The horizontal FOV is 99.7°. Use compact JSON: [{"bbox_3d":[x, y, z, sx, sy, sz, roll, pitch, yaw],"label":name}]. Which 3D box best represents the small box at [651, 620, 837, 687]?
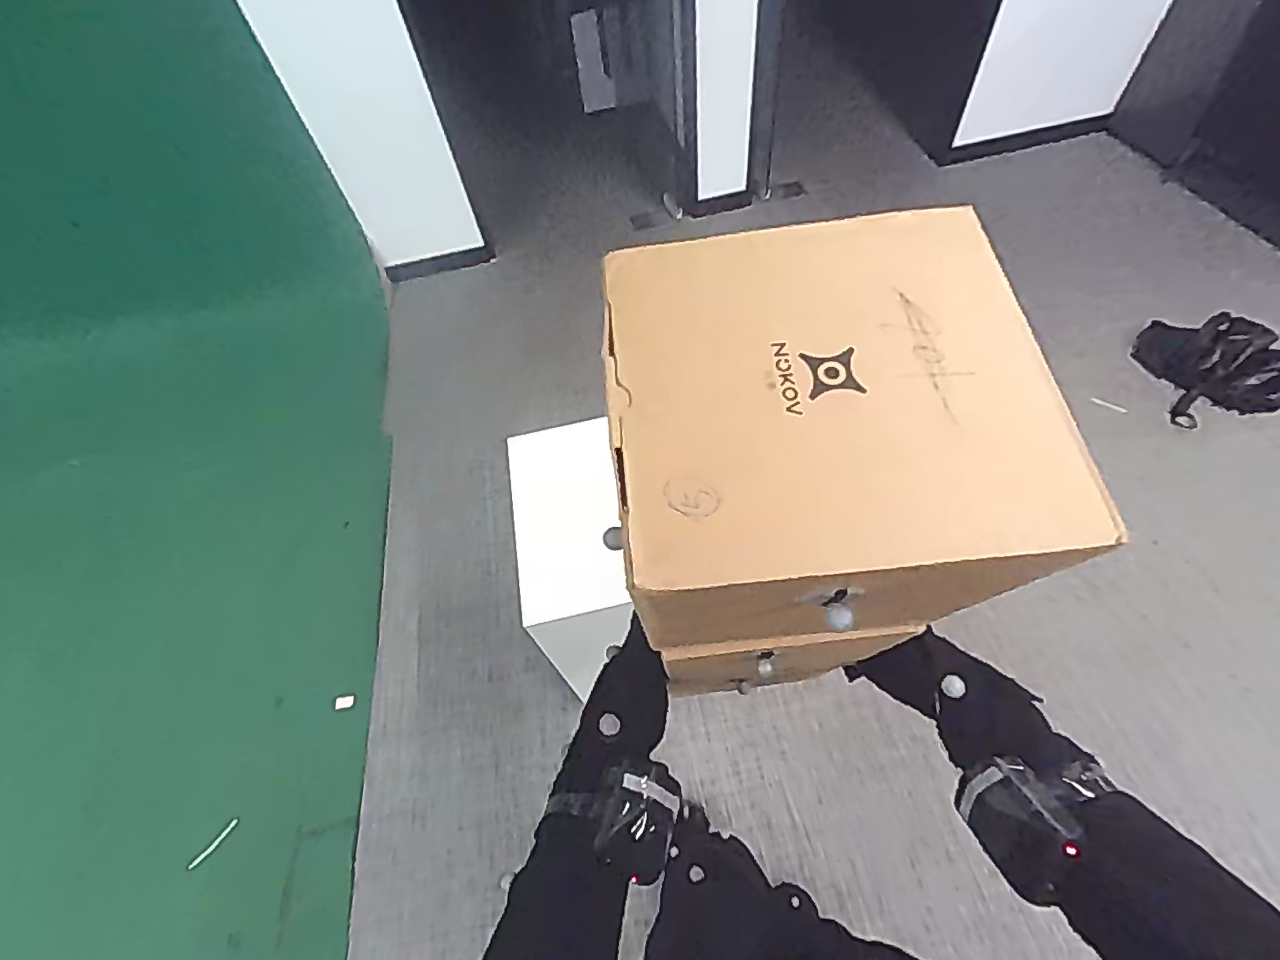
[{"bbox_3d":[0.102,0.129,0.602,0.179,0.176,0.168,-8,64,1],"label":"small box"}]

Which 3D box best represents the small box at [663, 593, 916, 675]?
[{"bbox_3d":[0.093,0.056,0.459,0.168,0.176,0.179,-9,65,0],"label":"small box"}]
